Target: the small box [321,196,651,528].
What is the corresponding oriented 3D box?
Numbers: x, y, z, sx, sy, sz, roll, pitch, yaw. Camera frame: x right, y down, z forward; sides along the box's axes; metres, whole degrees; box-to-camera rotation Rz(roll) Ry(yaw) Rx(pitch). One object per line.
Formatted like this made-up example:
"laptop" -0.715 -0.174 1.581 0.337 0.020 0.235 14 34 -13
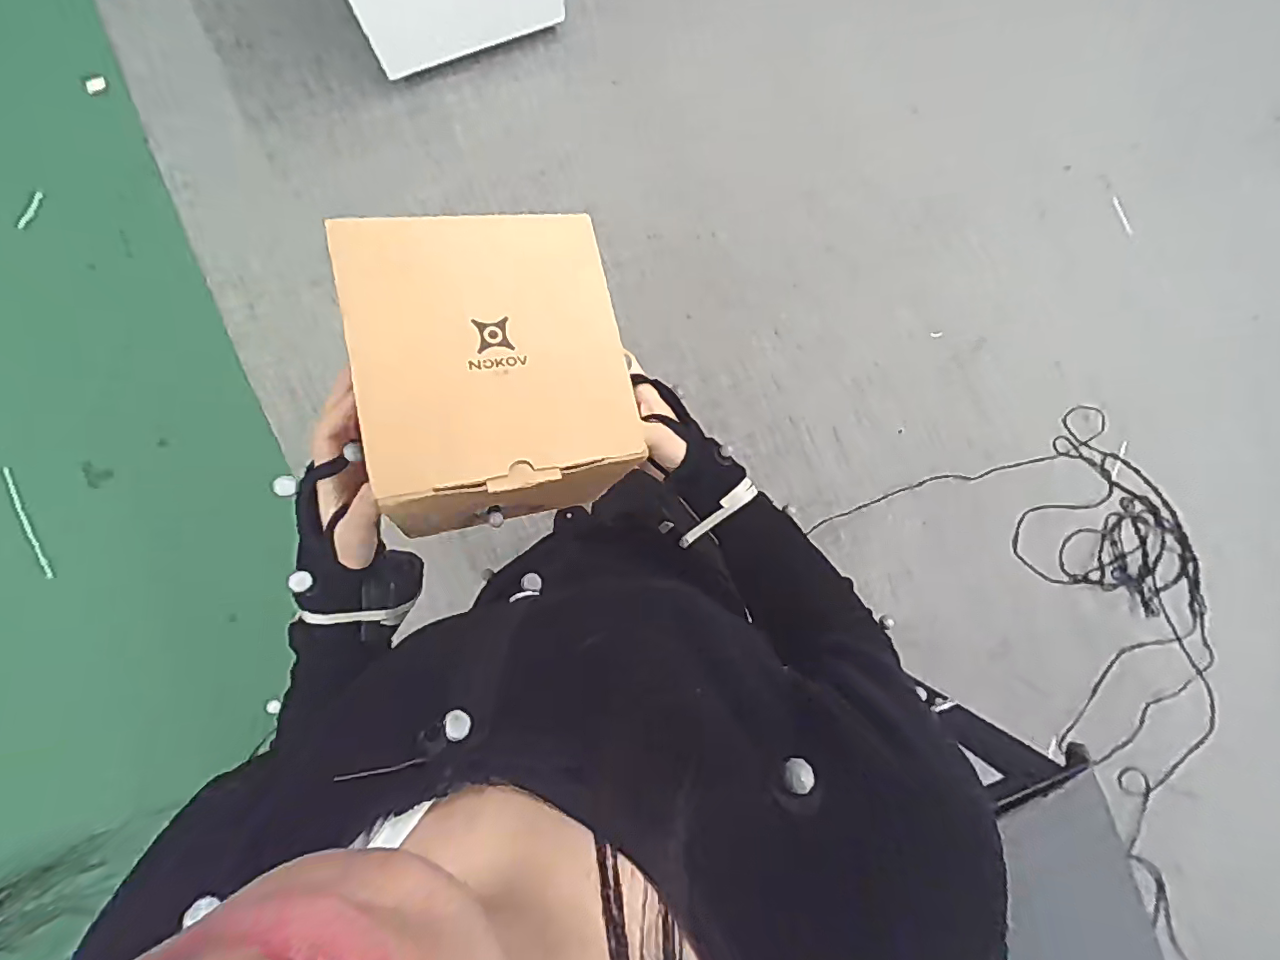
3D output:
"small box" -0.111 -0.073 0.393 0.168 0.176 0.179 -11 82 -19
